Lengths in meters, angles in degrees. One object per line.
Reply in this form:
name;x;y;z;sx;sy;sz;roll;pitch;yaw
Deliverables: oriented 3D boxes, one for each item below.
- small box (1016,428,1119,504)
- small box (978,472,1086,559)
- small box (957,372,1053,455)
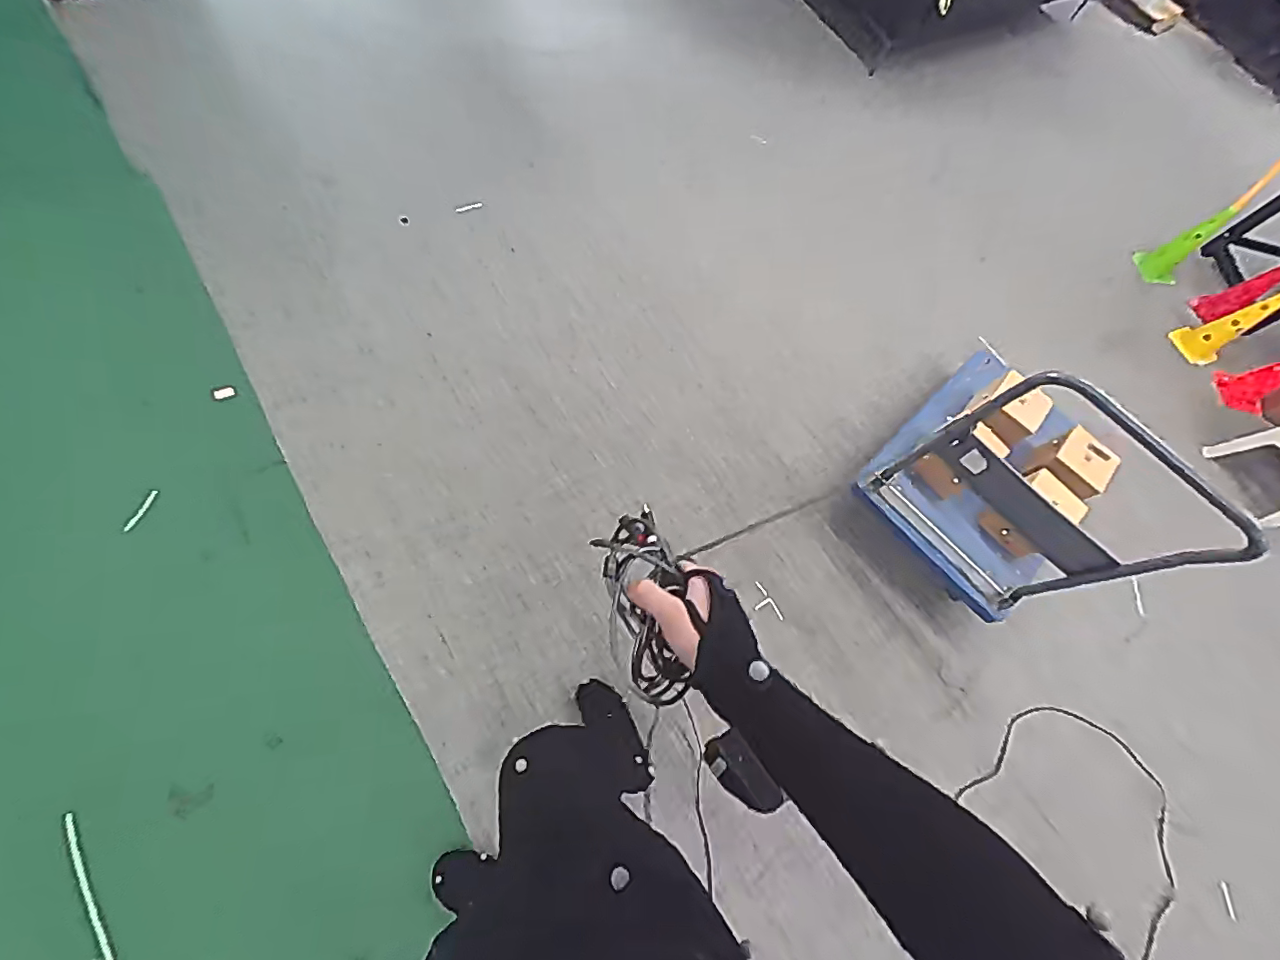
small box;1.352;-0.028;1.721;0.179;0.176;0.168;-40;79;-23
small box;1.168;0.110;1.624;0.179;0.176;0.168;-37;78;-22
small box;1.180;-0.210;1.763;0.168;0.176;0.179;44;66;8
